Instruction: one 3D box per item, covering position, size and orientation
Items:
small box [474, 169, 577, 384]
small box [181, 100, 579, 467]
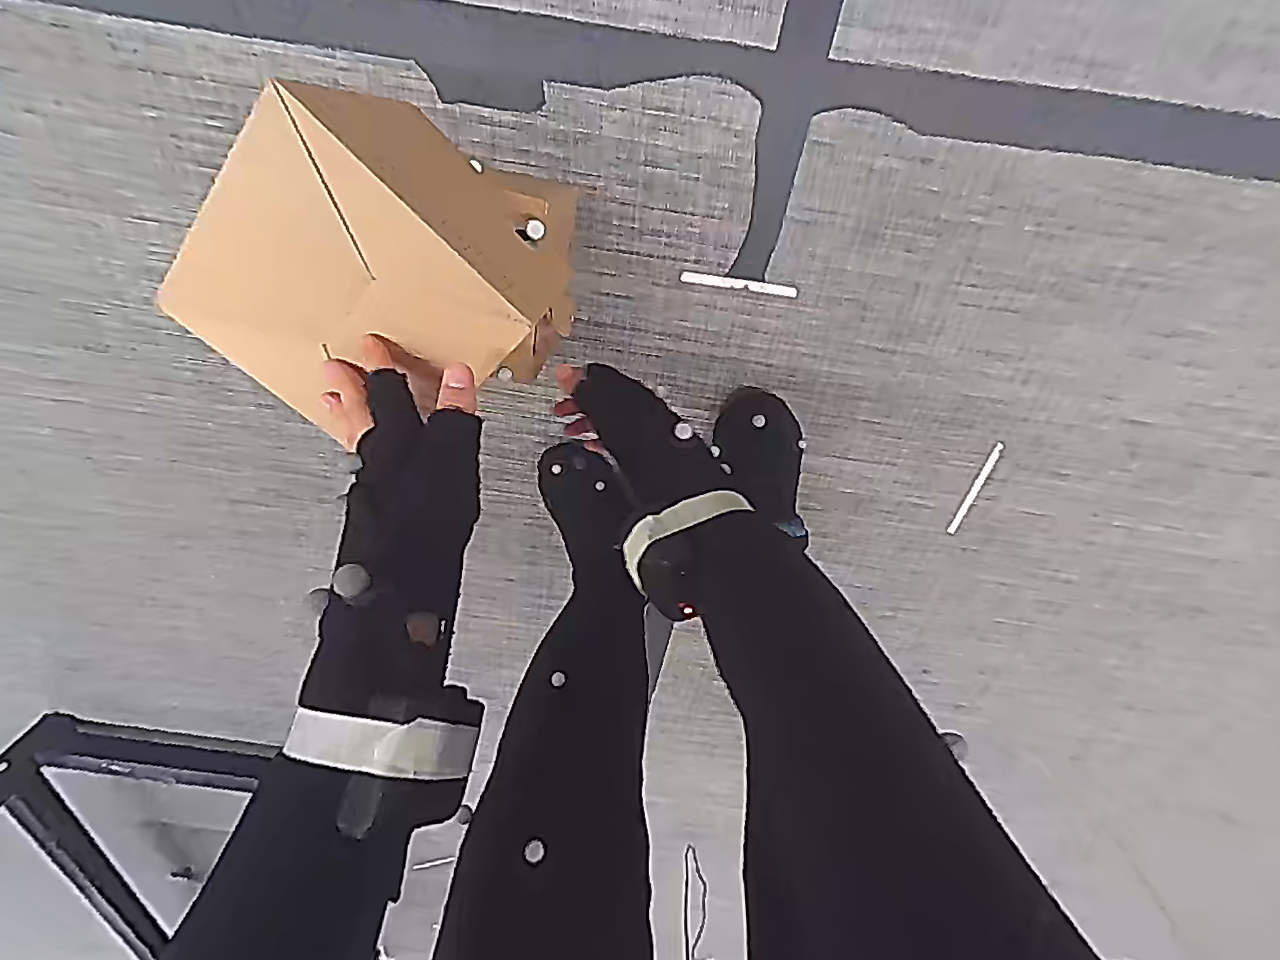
[{"bbox_3d":[-0.167,-0.219,0.554,0.179,0.176,0.168,11,121,-2],"label":"small box"},{"bbox_3d":[-0.174,-0.141,0.406,0.168,0.176,0.179,-39,112,23],"label":"small box"}]
